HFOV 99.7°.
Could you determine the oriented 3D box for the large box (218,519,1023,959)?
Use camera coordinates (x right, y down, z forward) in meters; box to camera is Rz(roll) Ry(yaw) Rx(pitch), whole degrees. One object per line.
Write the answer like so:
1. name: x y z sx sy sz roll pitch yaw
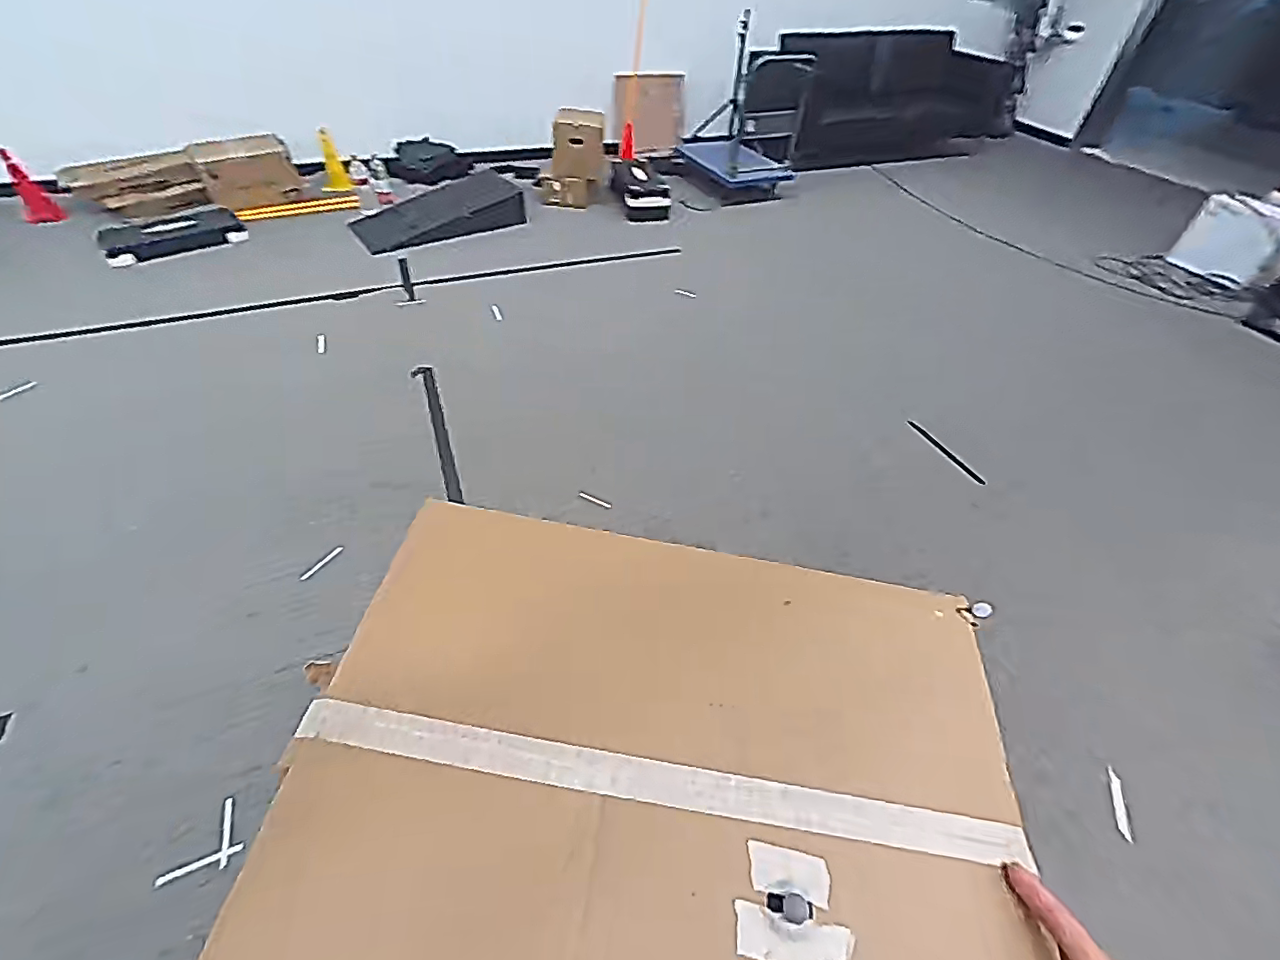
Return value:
1. large box: -0.006 0.268 0.431 0.408 0.320 0.320 10 52 0
